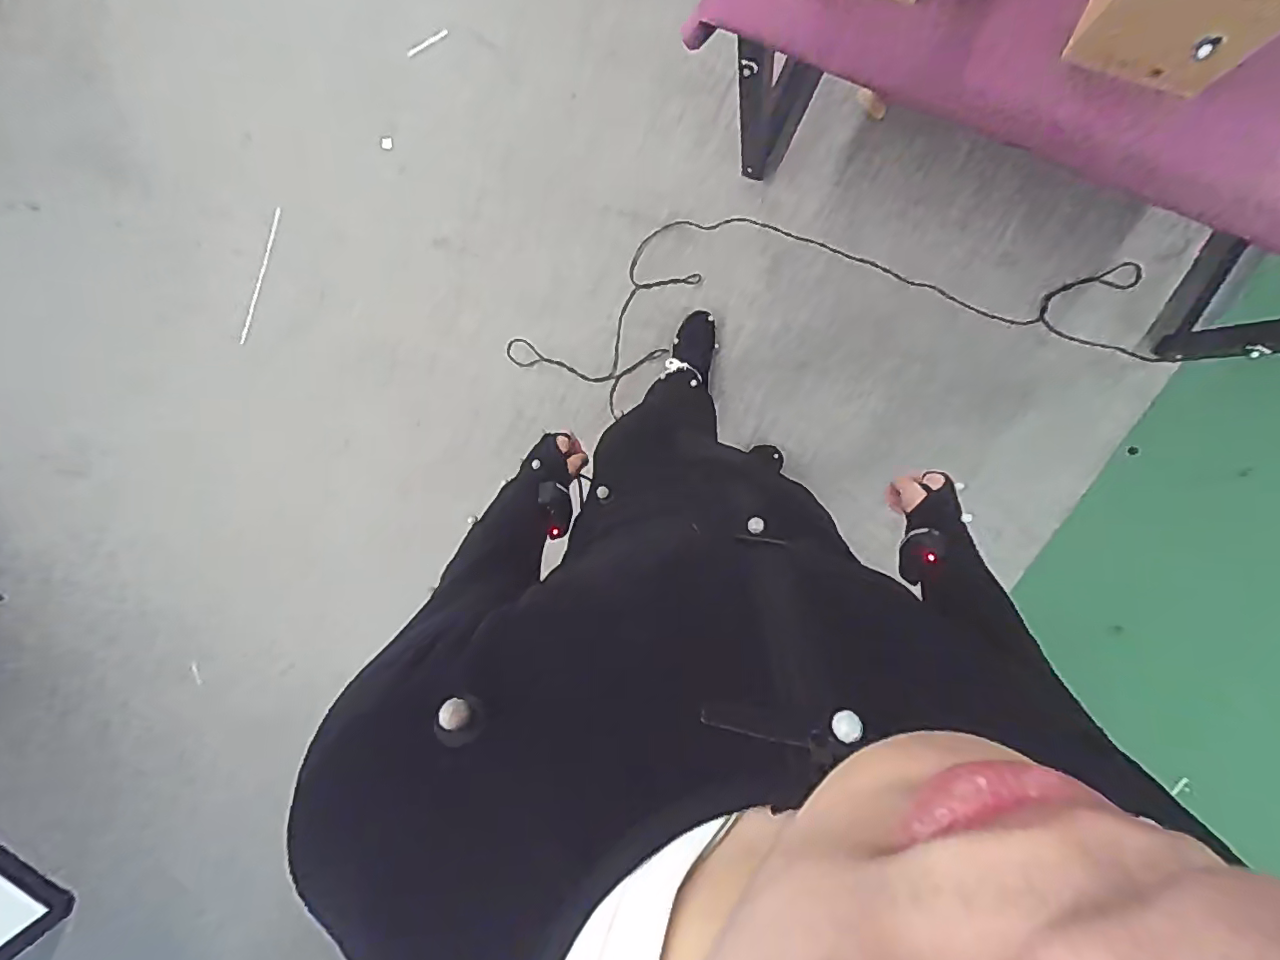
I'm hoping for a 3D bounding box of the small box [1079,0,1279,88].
[{"bbox_3d":[0.635,-0.578,0.587,0.168,0.176,0.179,24,102,7],"label":"small box"}]
